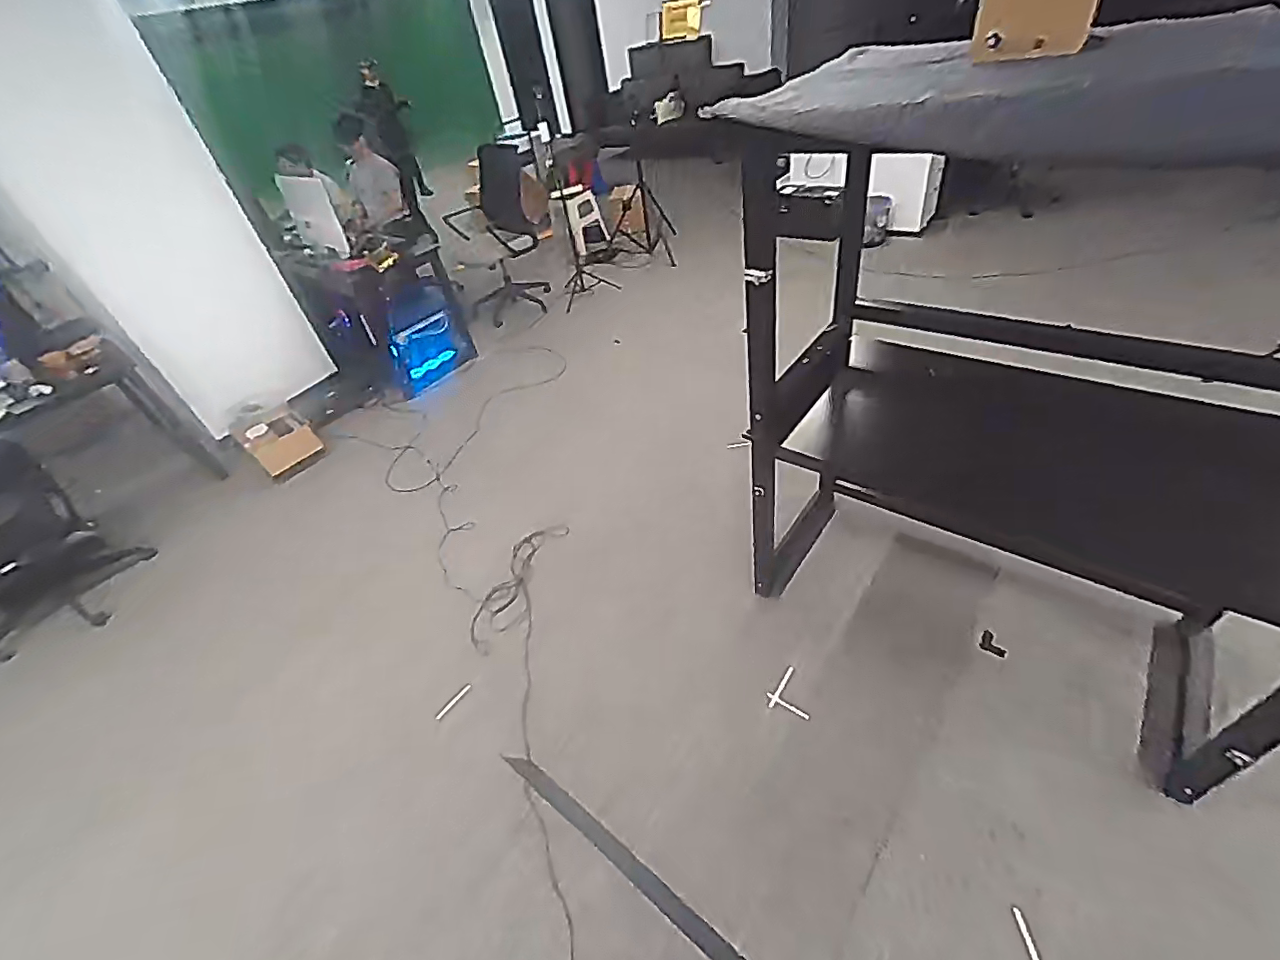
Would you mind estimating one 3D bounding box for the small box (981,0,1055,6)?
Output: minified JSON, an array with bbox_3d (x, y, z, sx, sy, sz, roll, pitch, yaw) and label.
[{"bbox_3d":[0.682,-0.900,0.884,0.168,0.176,0.179,20,51,29],"label":"small box"}]
